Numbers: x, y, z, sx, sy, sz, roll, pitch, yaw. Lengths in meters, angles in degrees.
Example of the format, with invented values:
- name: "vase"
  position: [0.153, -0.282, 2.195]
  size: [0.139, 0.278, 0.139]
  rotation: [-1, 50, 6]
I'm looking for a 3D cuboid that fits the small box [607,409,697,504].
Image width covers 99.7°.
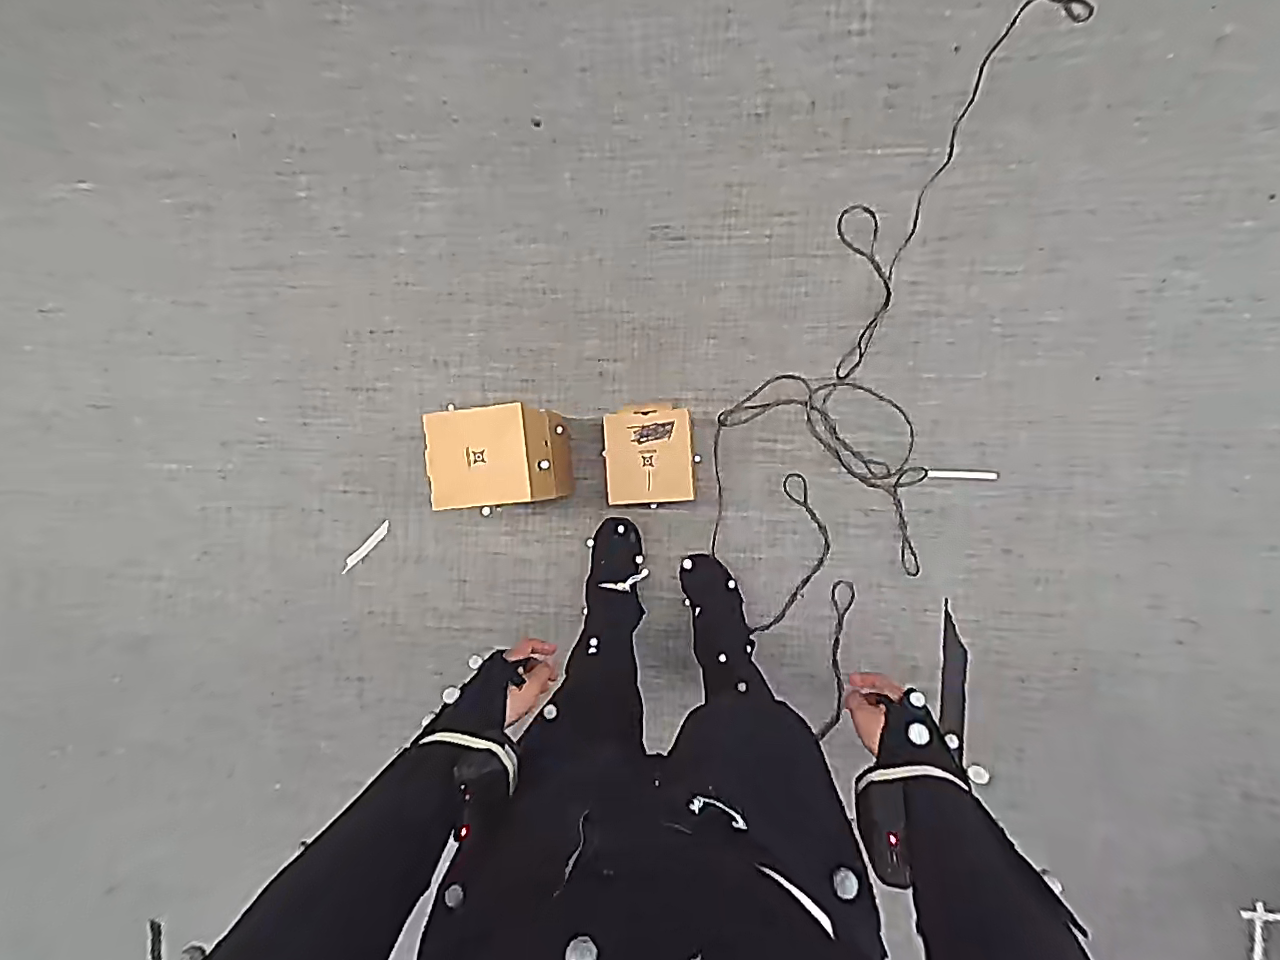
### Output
- name: "small box"
  position: [0.029, -0.045, 1.099]
  size: [0.168, 0.176, 0.179]
  rotation: [-3, 91, 7]

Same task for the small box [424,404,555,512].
- name: "small box"
  position: [-0.257, -0.038, 0.969]
  size: [0.179, 0.176, 0.168]
  rotation: [-7, 90, 7]
